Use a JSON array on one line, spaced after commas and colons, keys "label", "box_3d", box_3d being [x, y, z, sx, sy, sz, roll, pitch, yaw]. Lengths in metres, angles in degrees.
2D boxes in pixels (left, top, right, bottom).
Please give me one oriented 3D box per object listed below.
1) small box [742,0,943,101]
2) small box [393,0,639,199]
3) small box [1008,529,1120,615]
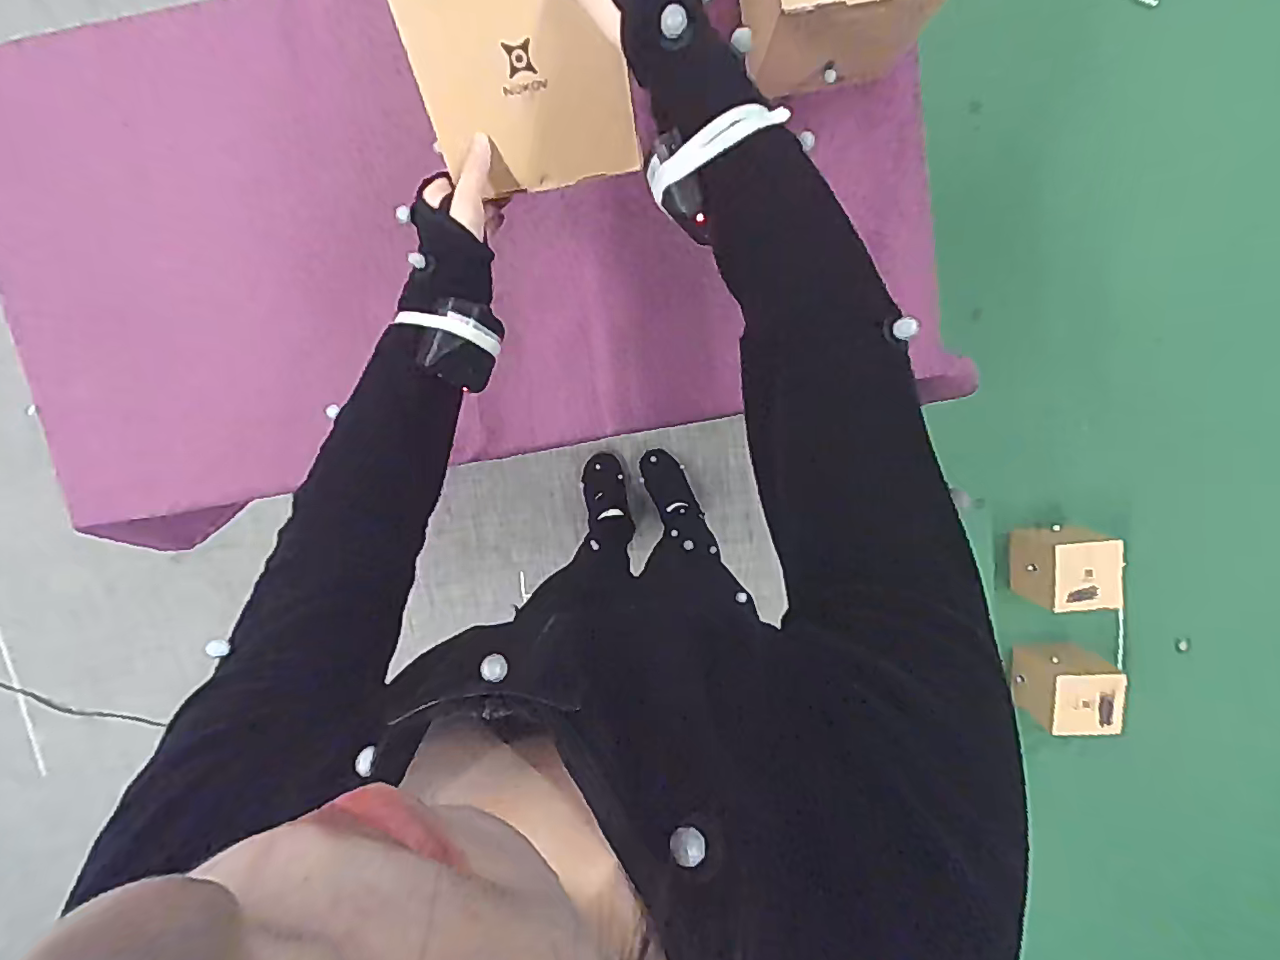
[{"label": "small box", "box_3d": [0.200, -0.542, 0.565, 0.168, 0.176, 0.179, -7, 101, 3]}, {"label": "small box", "box_3d": [-0.098, -0.379, 0.479, 0.168, 0.176, 0.179, -9, 134, 3]}, {"label": "small box", "box_3d": [1.089, 0.233, 1.403, 0.168, 0.176, 0.179, -5, 97, 1]}]
